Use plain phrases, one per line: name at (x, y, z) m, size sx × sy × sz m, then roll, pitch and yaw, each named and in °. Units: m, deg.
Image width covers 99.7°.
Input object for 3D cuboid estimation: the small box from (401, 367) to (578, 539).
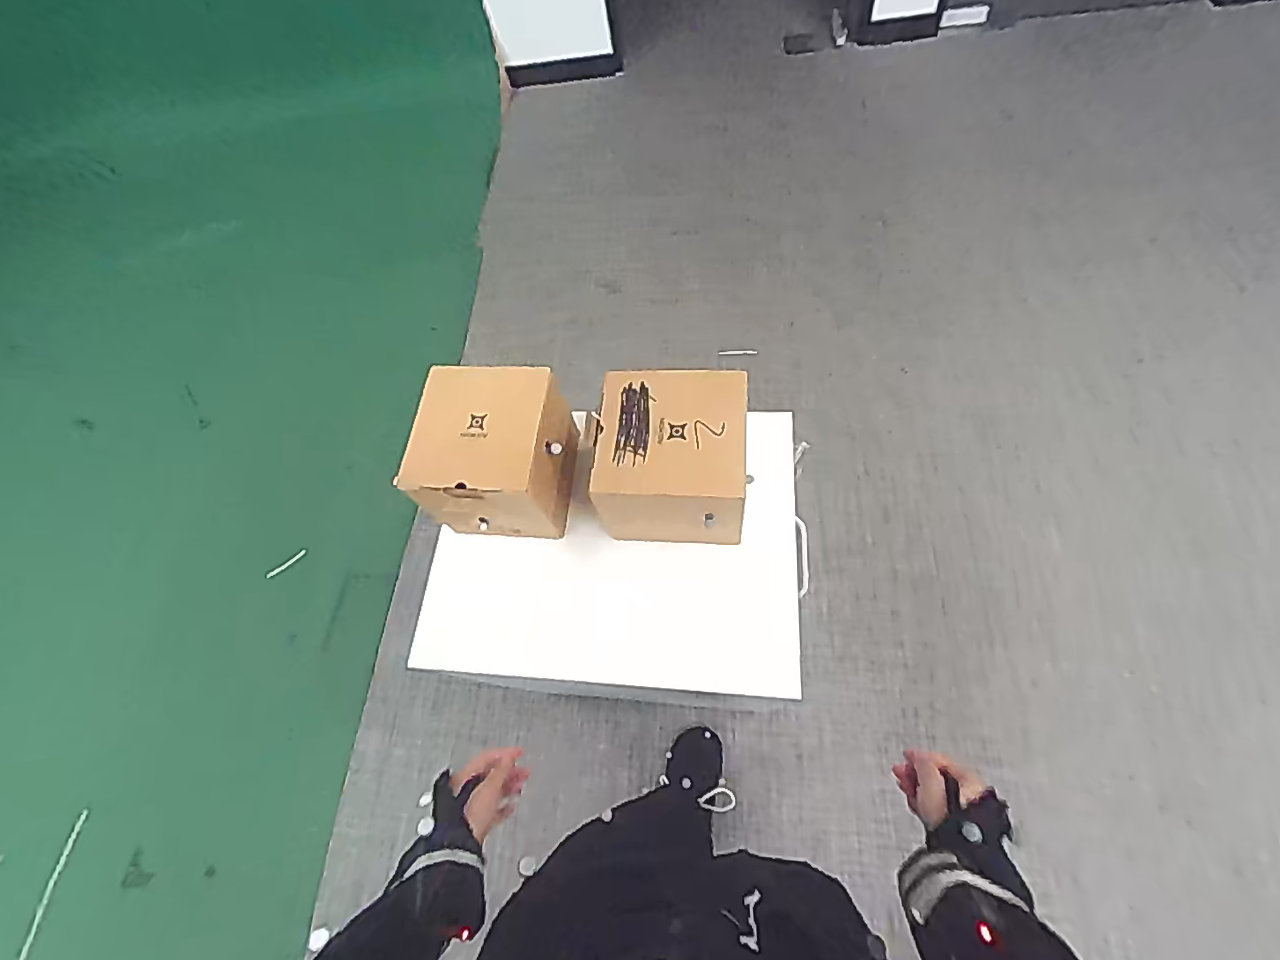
small box at (-0.187, -0.032, 0.734) m, size 0.168 × 0.176 × 0.179 m, roll 2°, pitch 66°, yaw 9°
